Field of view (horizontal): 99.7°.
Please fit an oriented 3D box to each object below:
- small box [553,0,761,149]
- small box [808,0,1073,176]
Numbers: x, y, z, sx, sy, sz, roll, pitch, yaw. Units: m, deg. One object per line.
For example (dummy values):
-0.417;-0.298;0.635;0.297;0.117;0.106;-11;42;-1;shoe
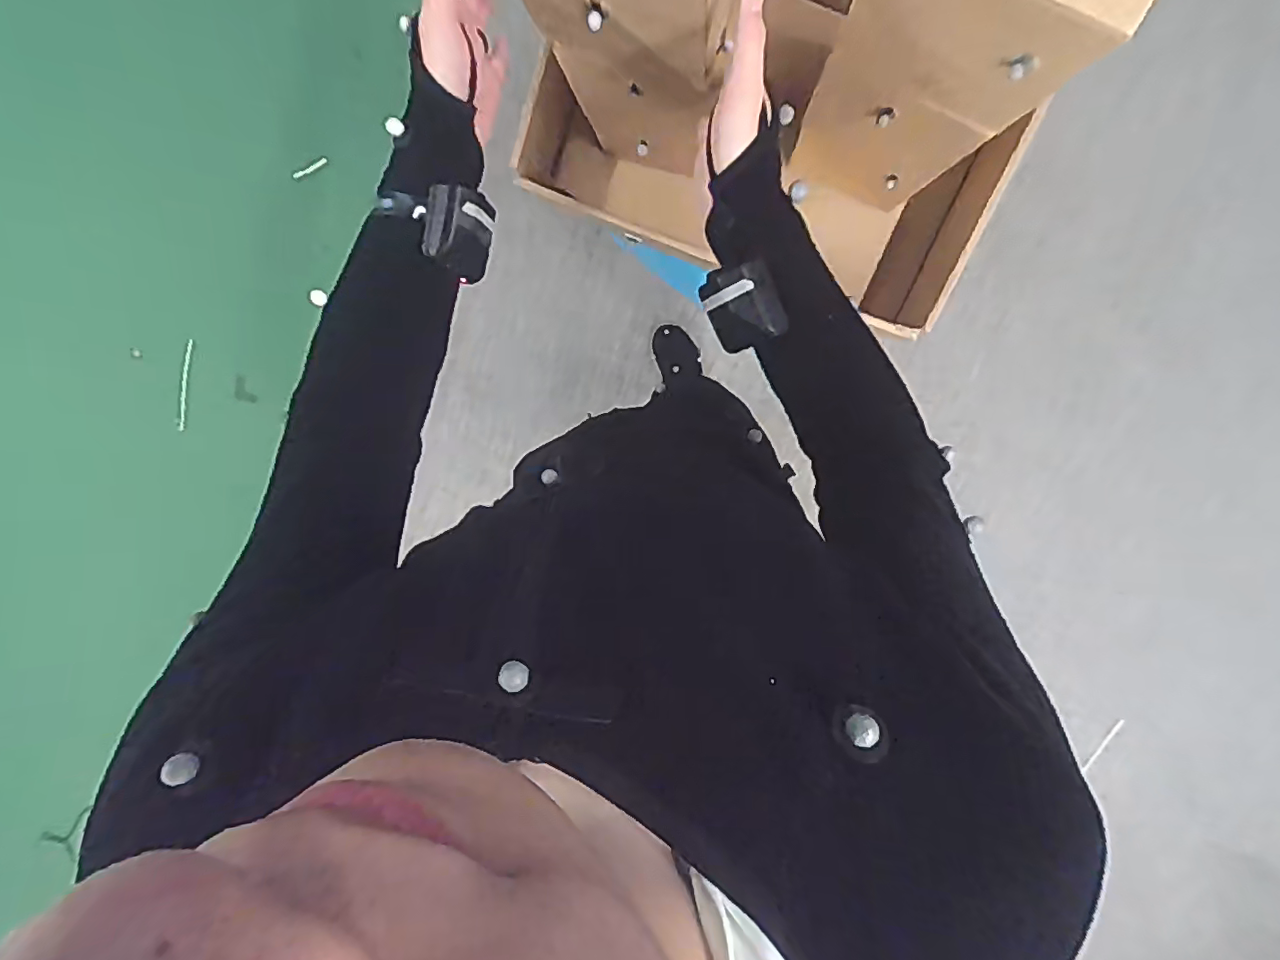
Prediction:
0.027;-0.488;0.582;0.179;0.176;0.168;17;106;1;small box
0.297;-0.447;0.560;0.179;0.176;0.168;25;107;0;small box
